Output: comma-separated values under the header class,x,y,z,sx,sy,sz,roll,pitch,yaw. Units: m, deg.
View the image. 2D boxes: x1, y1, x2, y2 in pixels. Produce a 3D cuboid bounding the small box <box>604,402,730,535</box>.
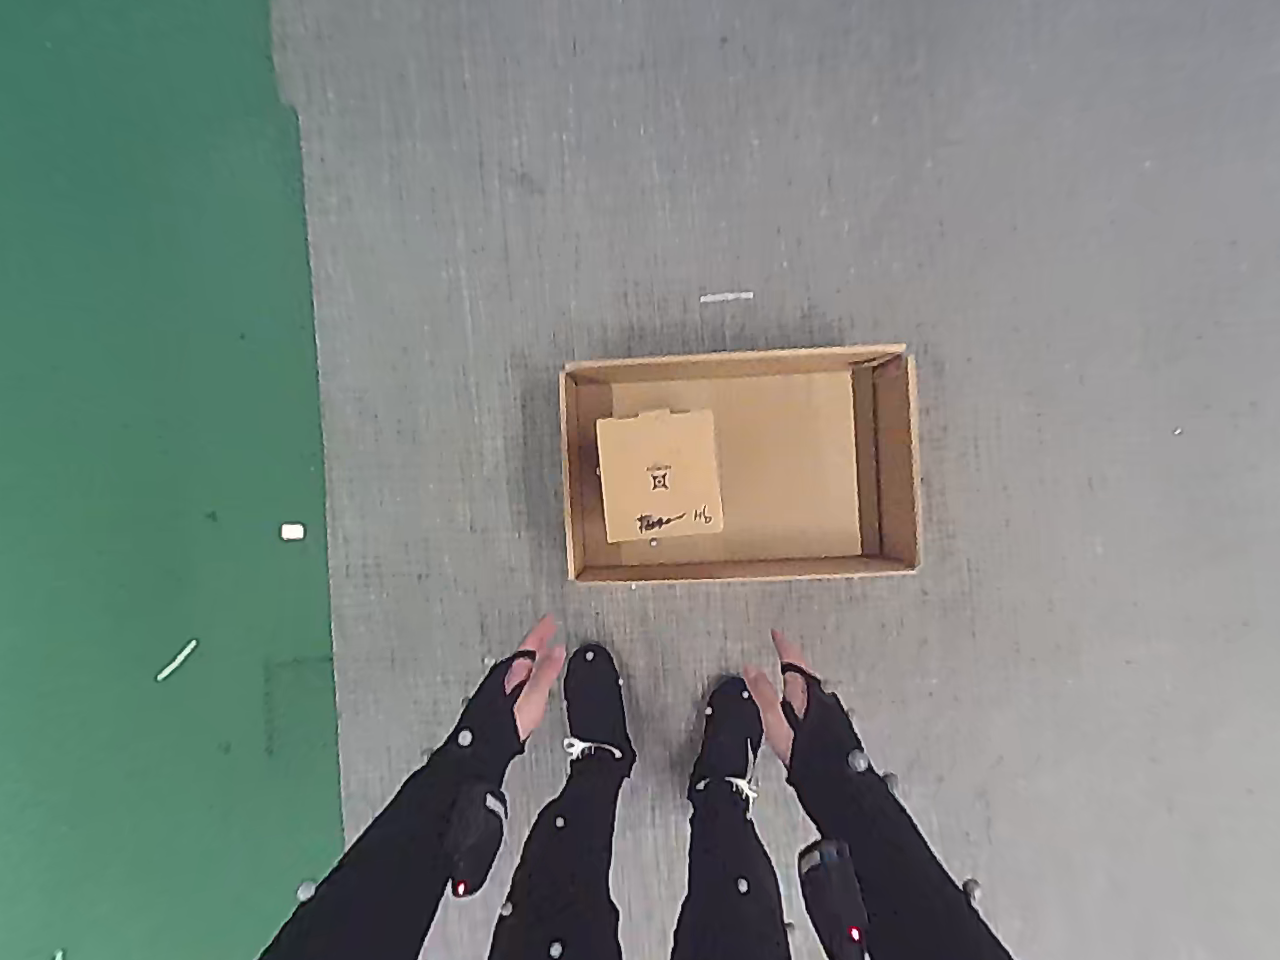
class,x,y,z,sx,sy,sz,roll,pitch,yaw
small box,0.039,-0.015,0.824,0.168,0.176,0.179,-5,90,2
